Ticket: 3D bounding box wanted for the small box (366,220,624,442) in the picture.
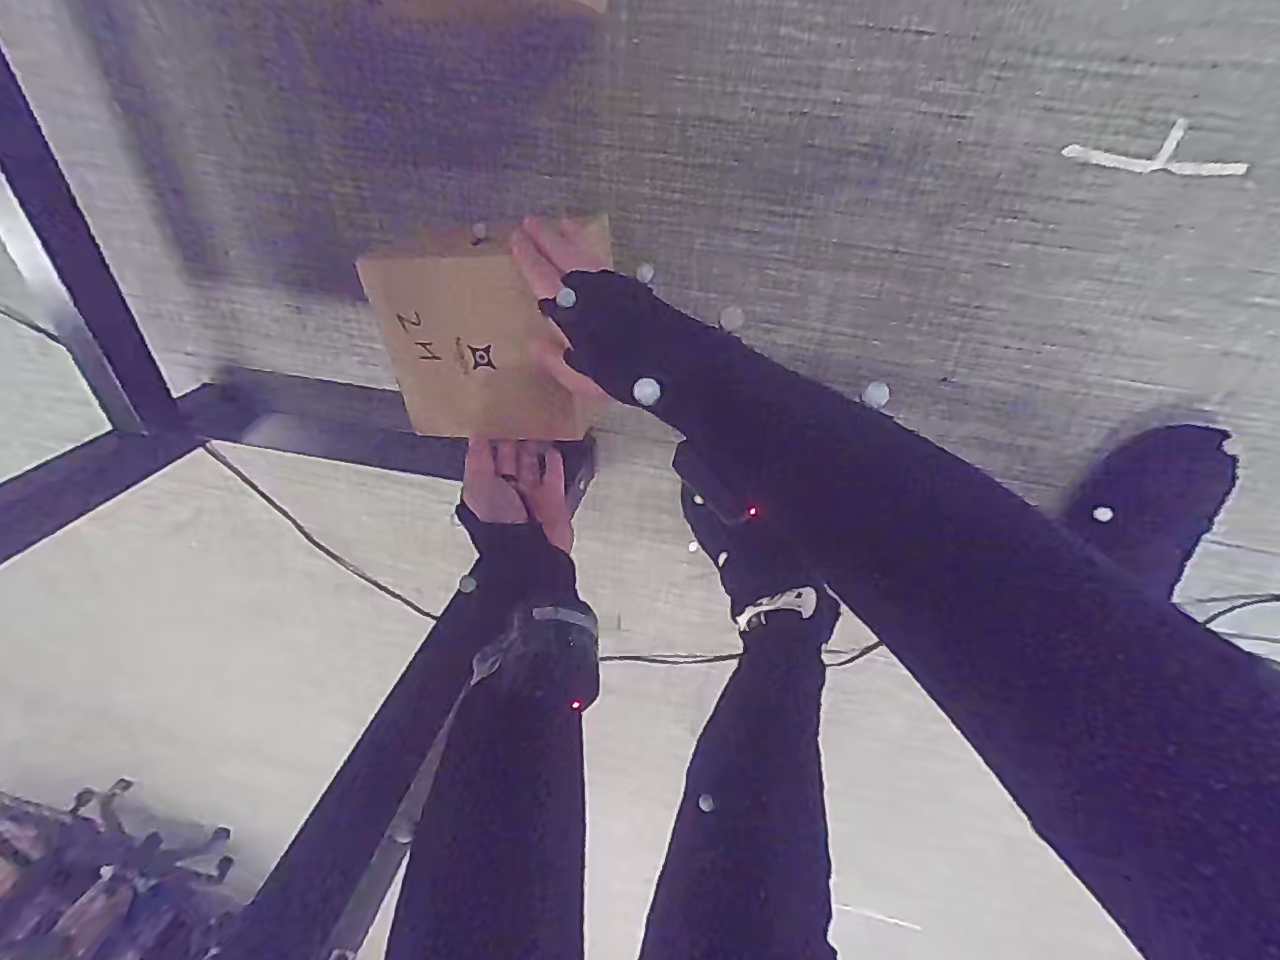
[{"bbox_3d":[-0.117,-0.151,0.528,0.179,0.176,0.168,4,123,13],"label":"small box"}]
